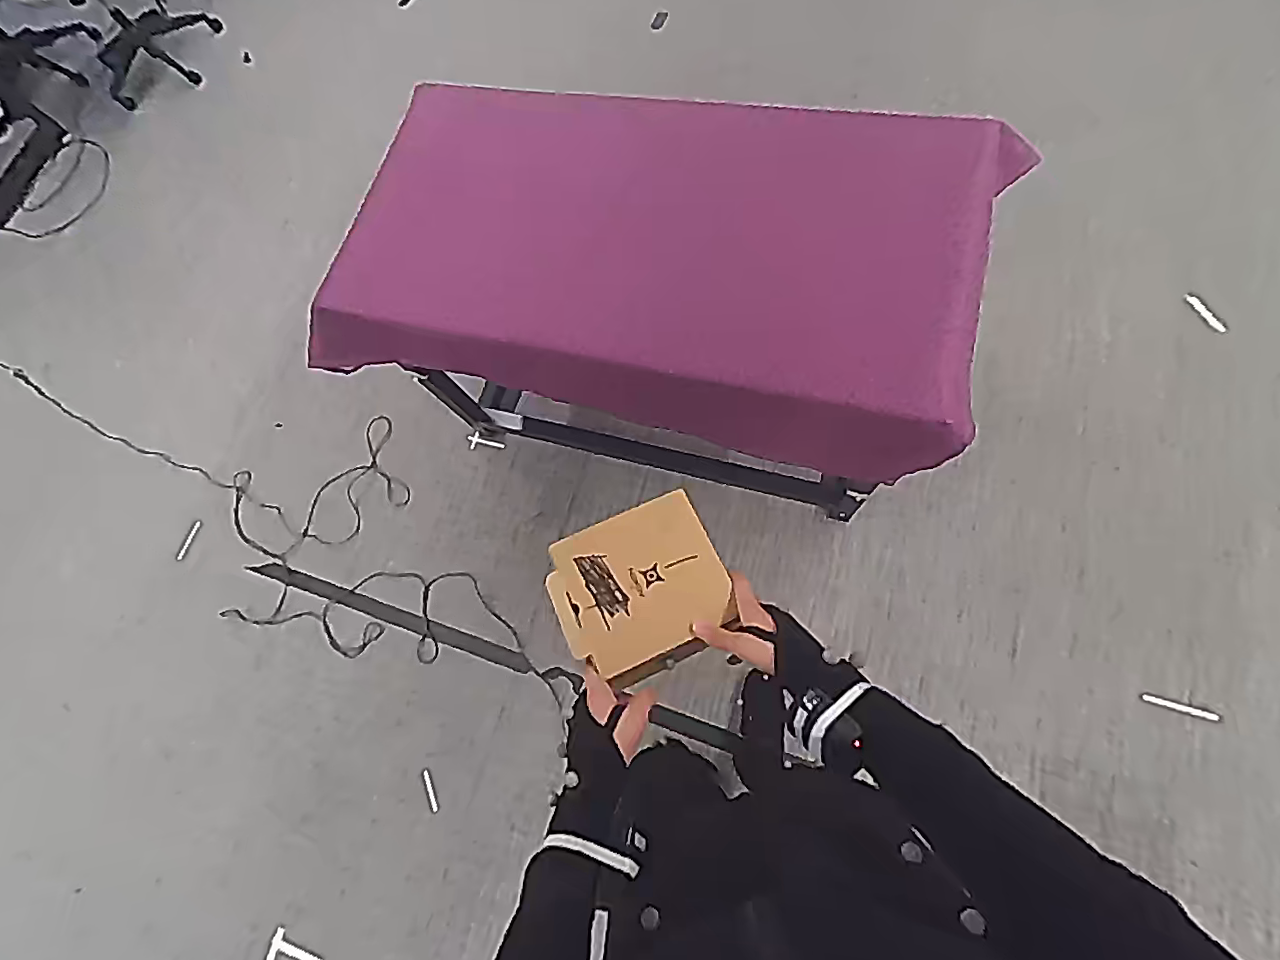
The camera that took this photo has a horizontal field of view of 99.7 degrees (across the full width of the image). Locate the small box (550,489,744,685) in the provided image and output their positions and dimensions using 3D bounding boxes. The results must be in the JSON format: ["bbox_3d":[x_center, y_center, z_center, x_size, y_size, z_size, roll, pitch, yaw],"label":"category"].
[{"bbox_3d":[0.009,0.142,0.678,0.179,0.176,0.168,-23,66,-8],"label":"small box"}]
